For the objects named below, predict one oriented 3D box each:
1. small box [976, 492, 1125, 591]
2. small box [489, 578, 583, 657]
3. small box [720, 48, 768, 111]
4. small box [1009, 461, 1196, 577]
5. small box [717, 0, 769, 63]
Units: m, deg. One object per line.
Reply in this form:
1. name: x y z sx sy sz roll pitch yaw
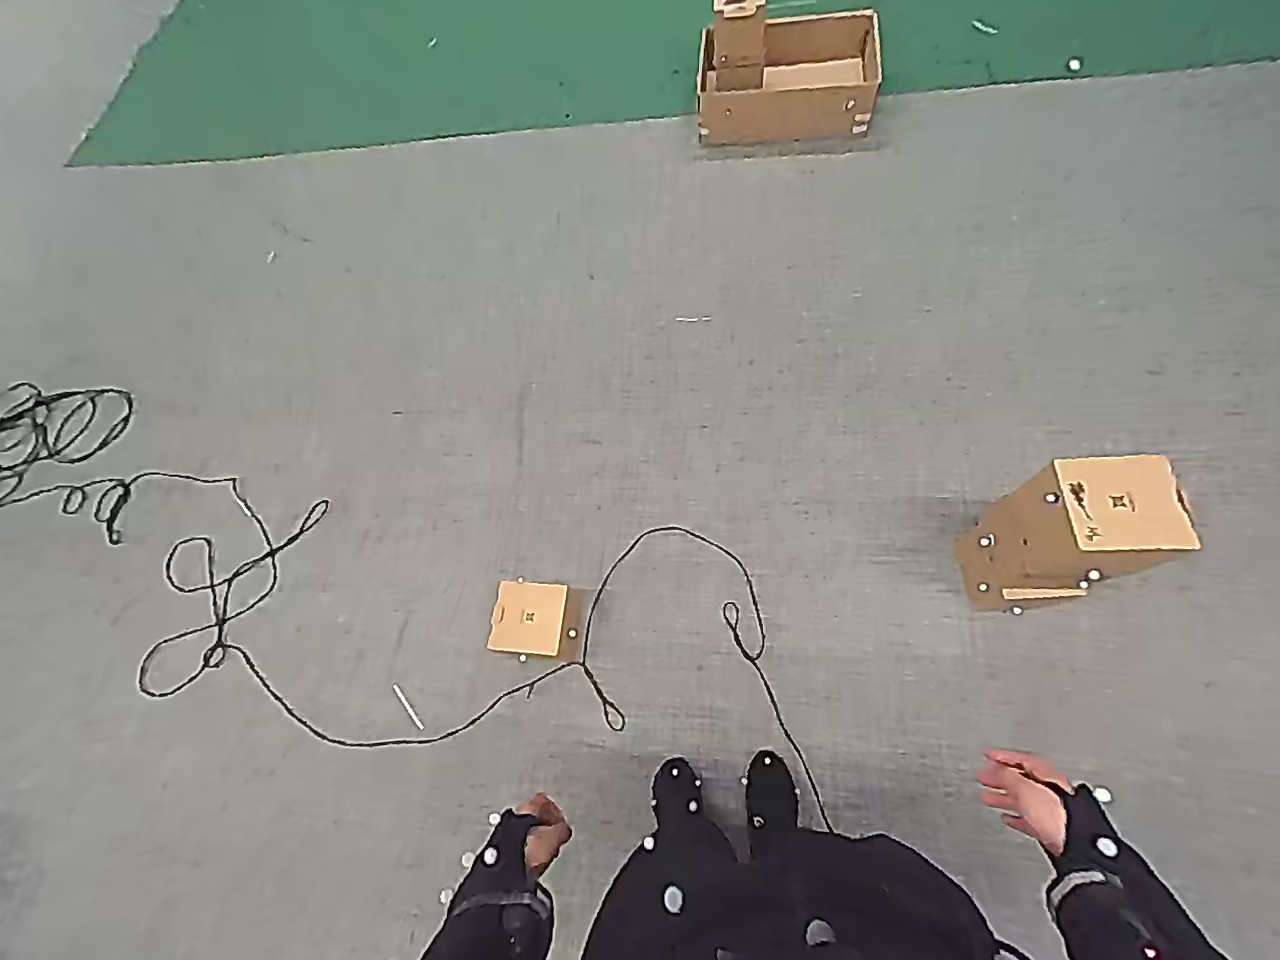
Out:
1. small box: 0.835 0.130 1.116 0.179 0.176 0.168 -1 66 9
2. small box: -0.251 0.350 1.360 0.179 0.176 0.168 2 67 10
3. small box: 0.377 -1.496 1.981 0.168 0.176 0.179 0 68 9
4. small box: 0.806 0.074 0.965 0.179 0.176 0.168 -1 66 8
5. small box: 0.348 -1.548 1.828 0.168 0.176 0.179 2 67 8
